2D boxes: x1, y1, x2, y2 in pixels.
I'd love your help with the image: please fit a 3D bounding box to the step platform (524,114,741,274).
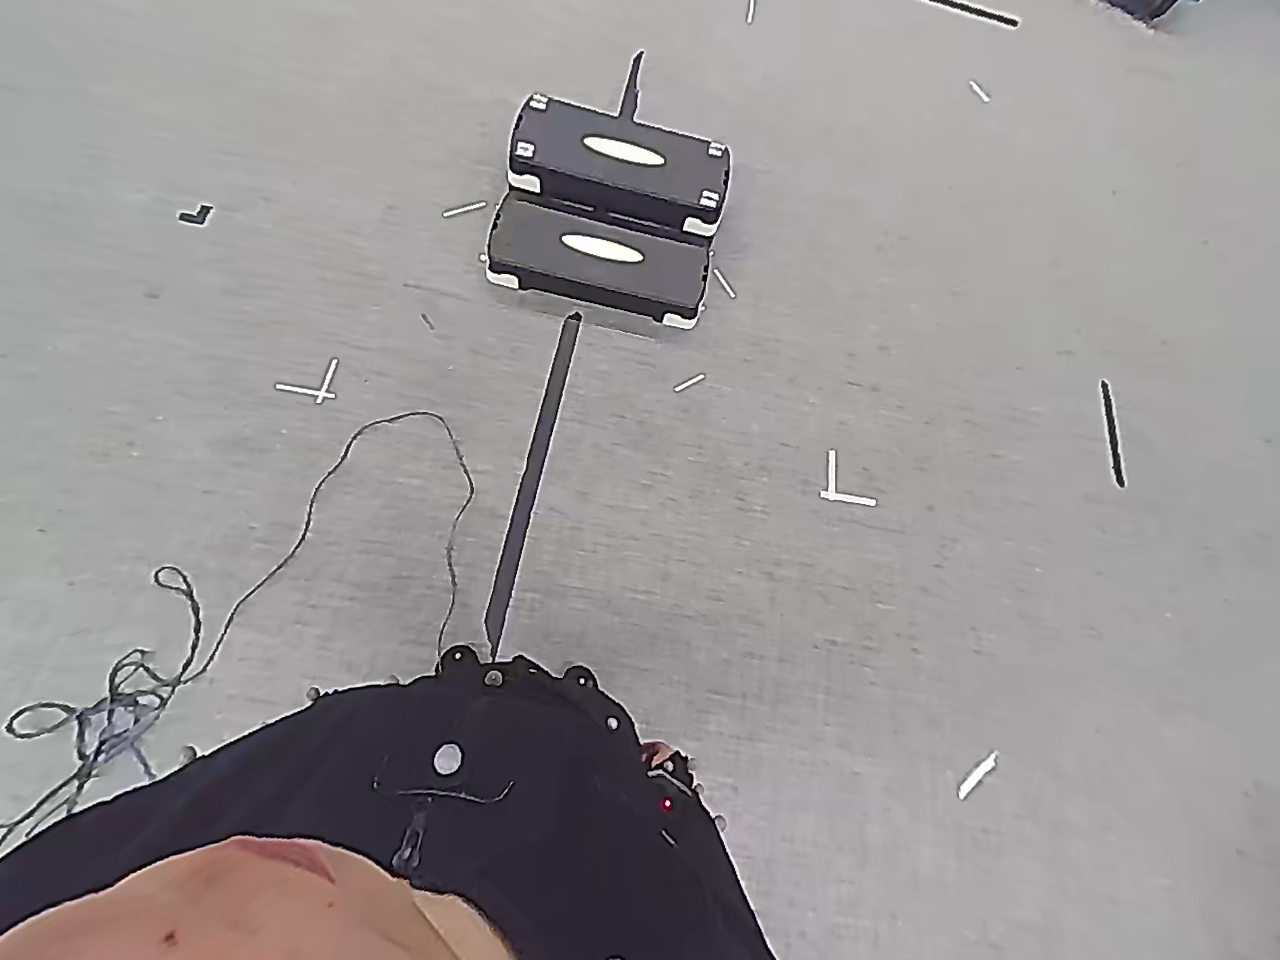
[{"bbox_3d":[-0.021,-0.922,1.751,0.684,0.204,0.286,16,70,-3],"label":"step platform"}]
